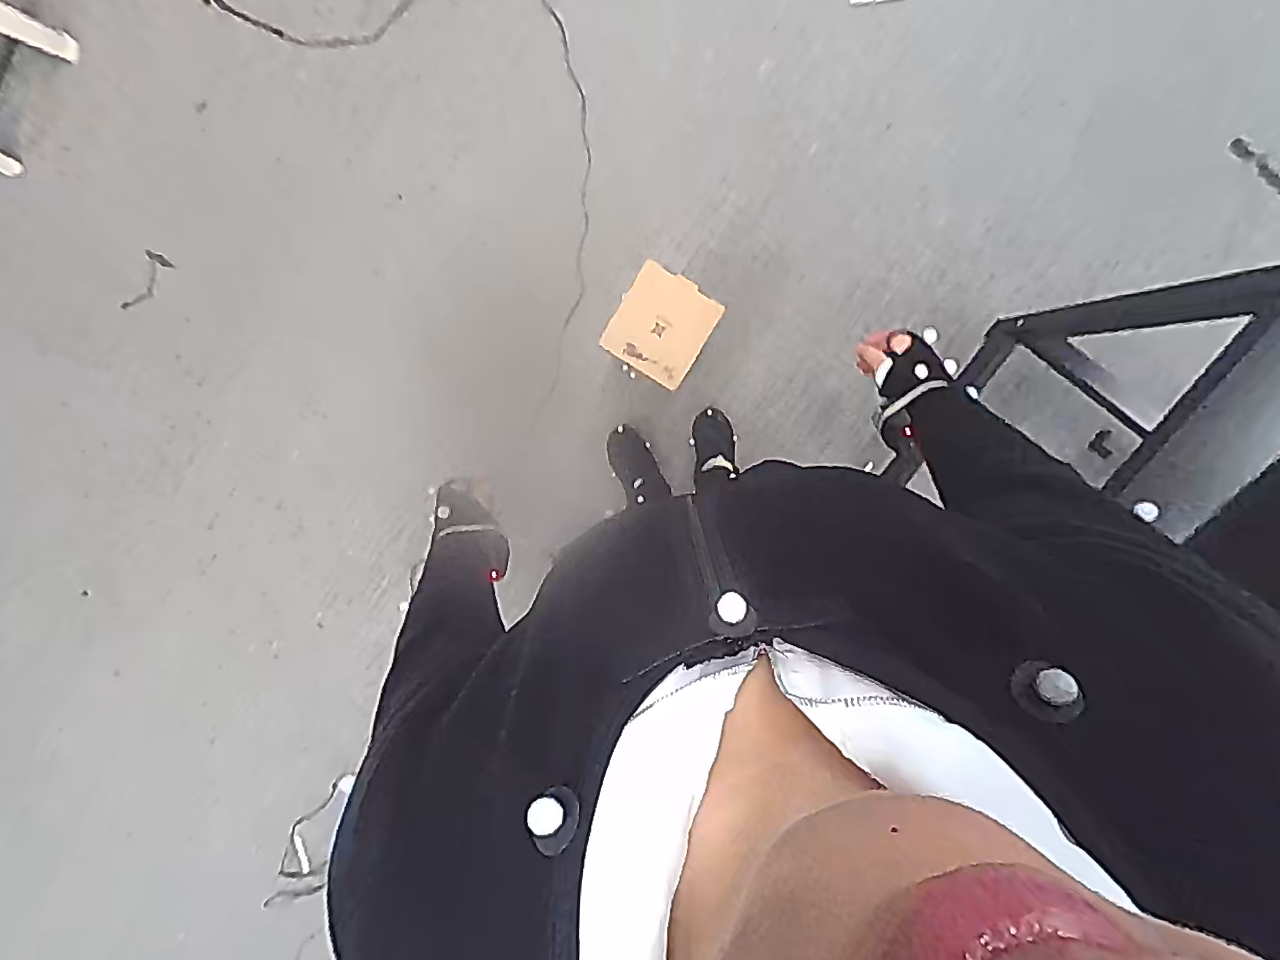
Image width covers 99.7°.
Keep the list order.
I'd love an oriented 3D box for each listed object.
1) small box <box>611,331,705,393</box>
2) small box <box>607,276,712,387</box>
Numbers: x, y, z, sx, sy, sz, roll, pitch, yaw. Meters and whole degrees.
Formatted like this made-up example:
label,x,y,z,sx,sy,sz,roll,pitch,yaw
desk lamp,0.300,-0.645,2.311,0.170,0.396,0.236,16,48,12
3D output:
label,x,y,z,sx,sy,sz,roll,pitch,yaw
small box,0.042,-0.337,1.365,0.168,0.176,0.179,32,99,-3
small box,0.041,-0.319,1.205,0.168,0.176,0.179,28,97,-4
